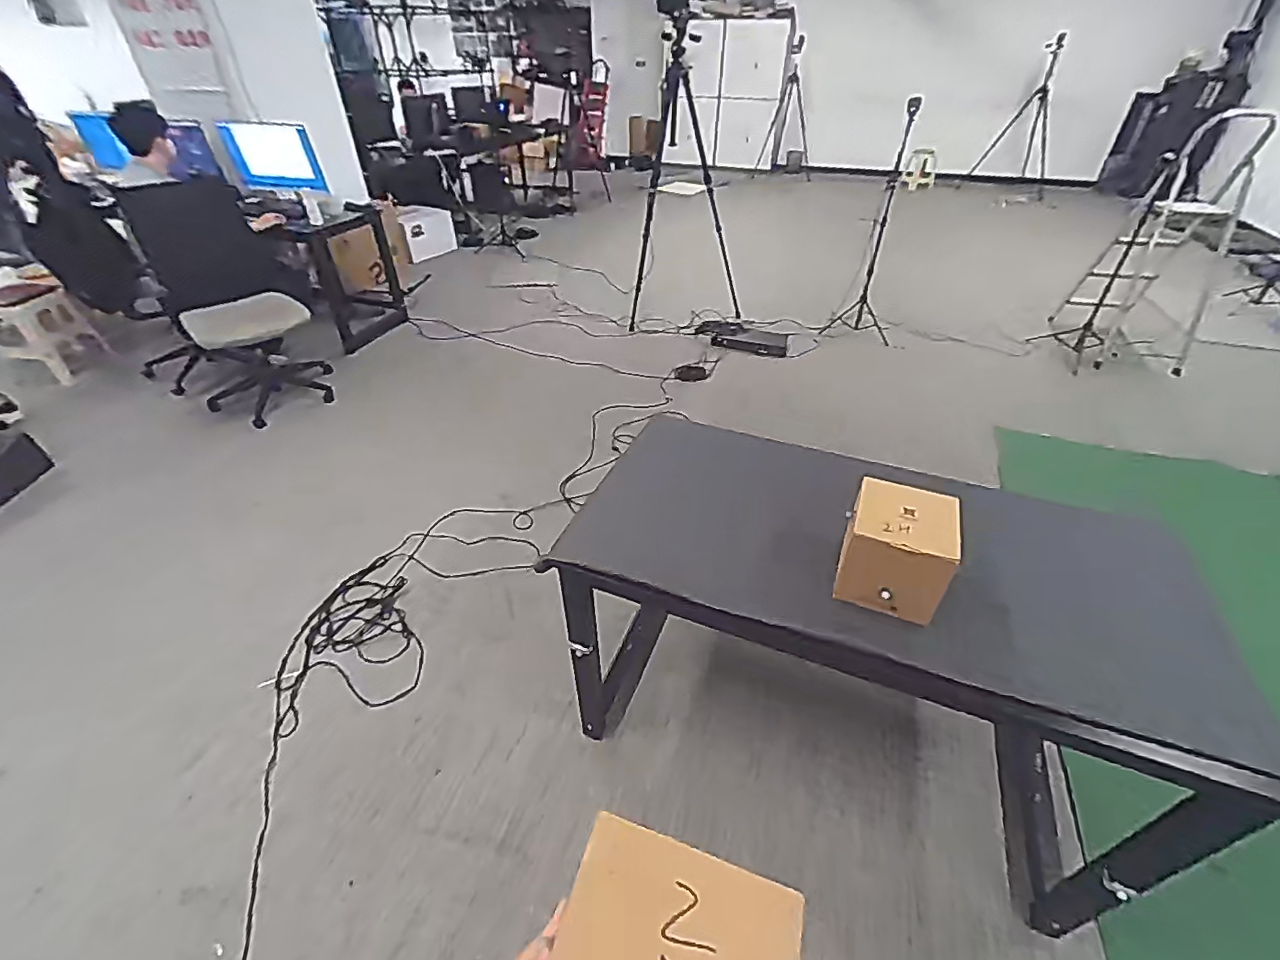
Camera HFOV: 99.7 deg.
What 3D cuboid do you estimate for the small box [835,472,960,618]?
[{"bbox_3d":[0.467,0.116,0.991,0.168,0.176,0.179,15,41,19],"label":"small box"}]
